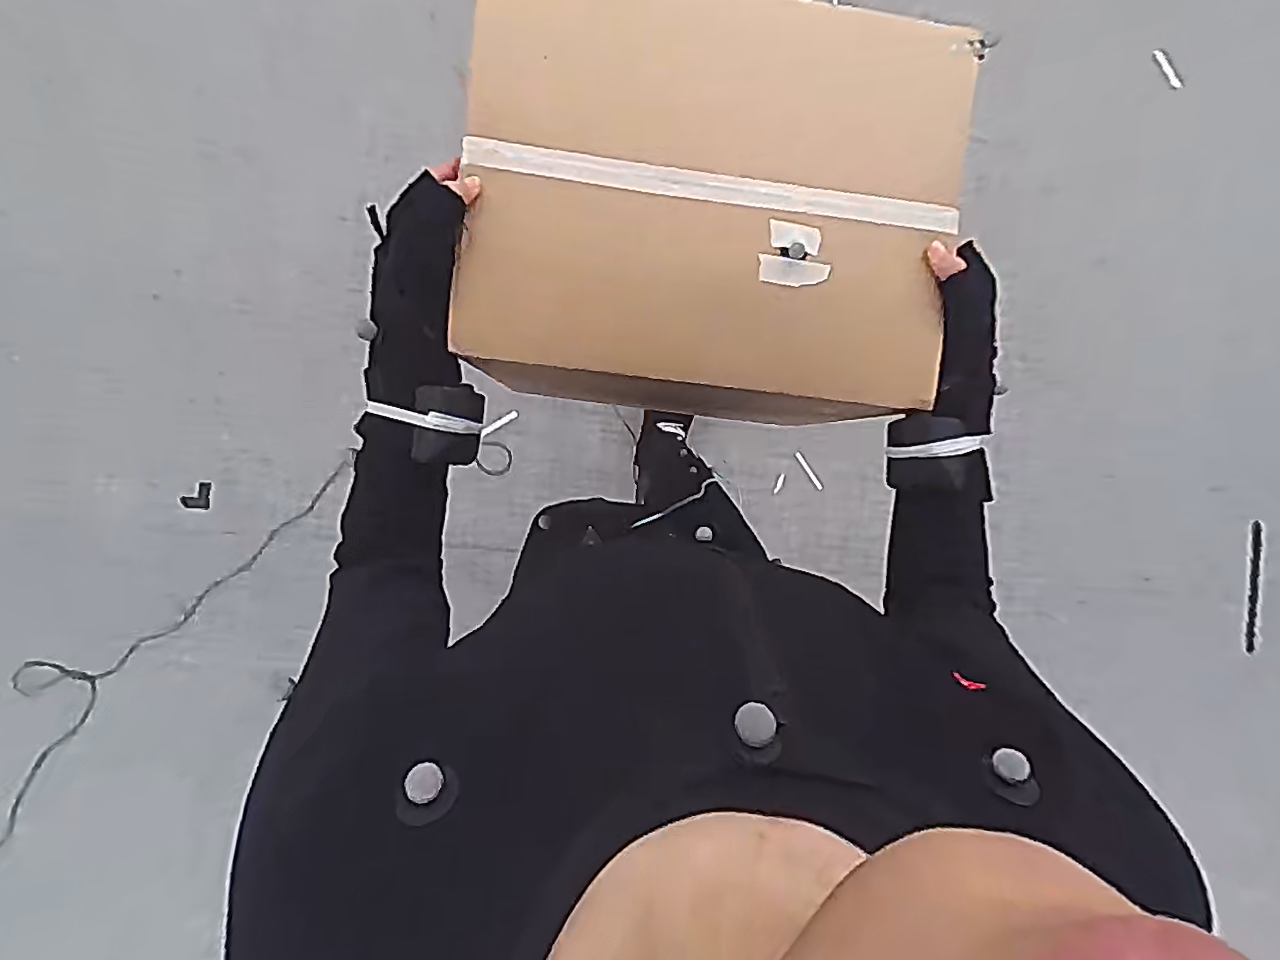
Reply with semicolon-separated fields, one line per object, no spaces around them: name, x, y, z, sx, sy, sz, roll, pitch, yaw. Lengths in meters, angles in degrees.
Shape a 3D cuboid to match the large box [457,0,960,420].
large box;0.046;-0.244;0.593;0.408;0.320;0.320;6;94;-5
